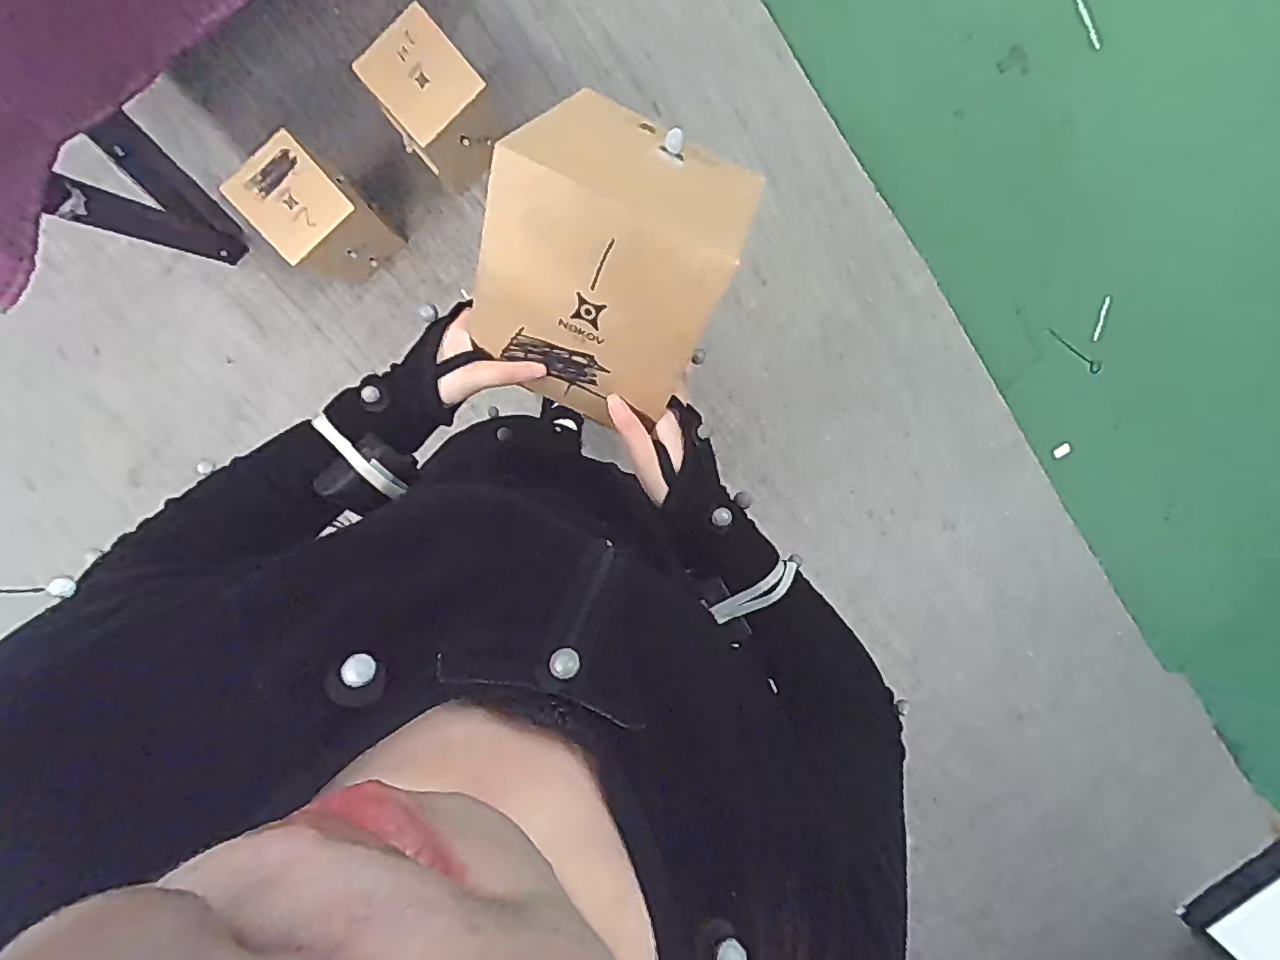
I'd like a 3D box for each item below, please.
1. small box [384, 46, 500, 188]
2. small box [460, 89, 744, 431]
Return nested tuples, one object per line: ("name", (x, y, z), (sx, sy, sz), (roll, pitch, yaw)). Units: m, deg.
("small box", (-0.425, -0.797, 1.213), (0.179, 0.176, 0.168), (-40, 103, 4))
("small box", (-0.028, -0.181, 0.451), (0.168, 0.176, 0.179), (25, 137, -5))
